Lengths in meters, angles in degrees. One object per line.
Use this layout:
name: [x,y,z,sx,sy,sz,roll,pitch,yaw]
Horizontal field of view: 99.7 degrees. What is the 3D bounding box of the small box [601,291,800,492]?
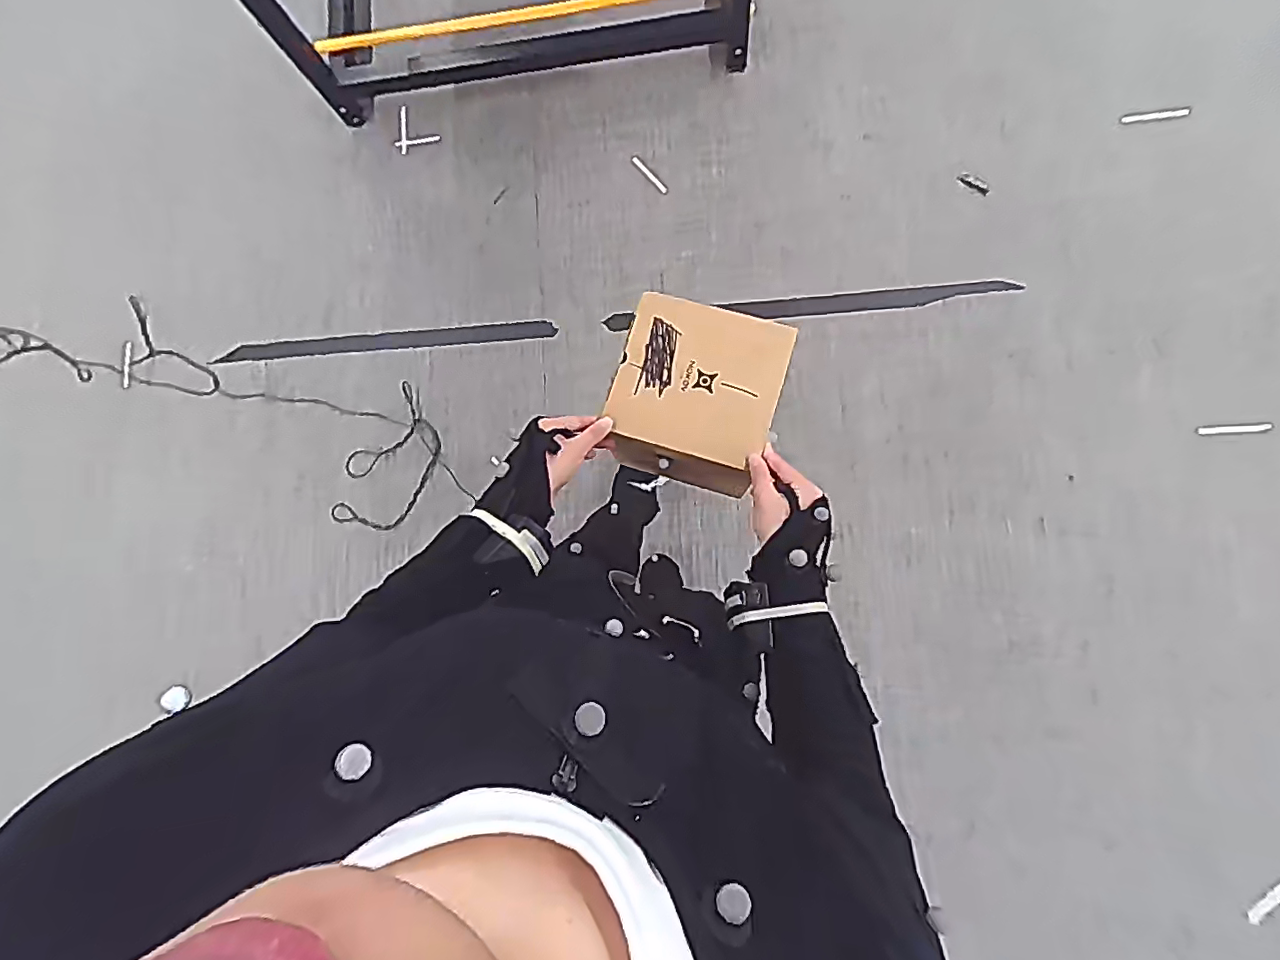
small box: [0.070,-0.094,0.649,0.179,0.176,0.168,17,81,8]
